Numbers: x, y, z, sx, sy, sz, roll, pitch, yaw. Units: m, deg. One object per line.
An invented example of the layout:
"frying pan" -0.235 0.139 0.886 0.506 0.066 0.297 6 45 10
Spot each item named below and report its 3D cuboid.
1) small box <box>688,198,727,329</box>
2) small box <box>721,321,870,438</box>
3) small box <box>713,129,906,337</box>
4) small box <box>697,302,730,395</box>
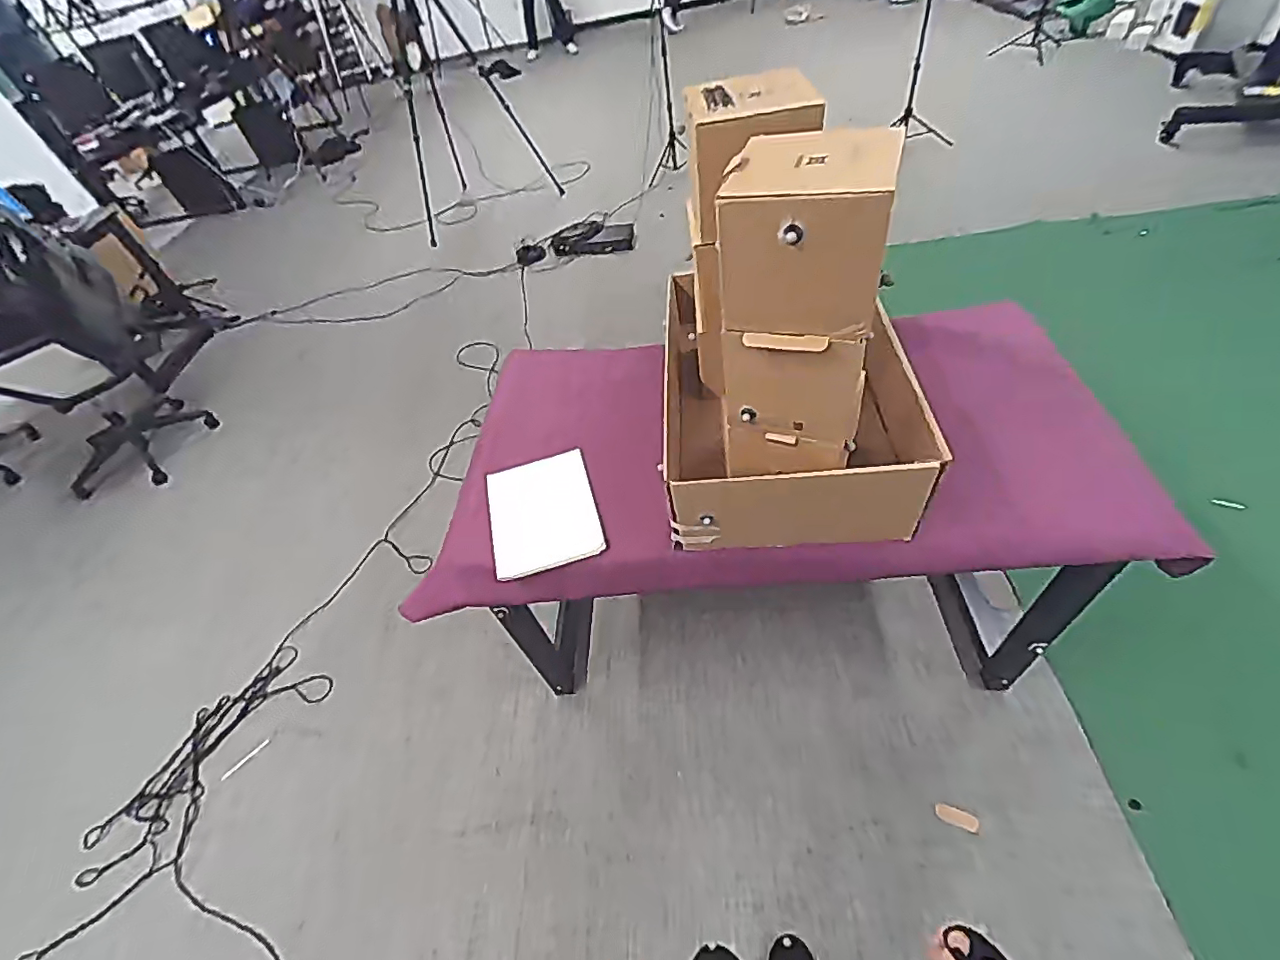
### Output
"small box" 0.182 -0.384 0.952 0.179 0.176 0.168 -6 50 7
"small box" 0.224 -0.181 0.759 0.168 0.176 0.179 12 52 23
"small box" 0.198 -0.285 0.637 0.179 0.176 0.168 10 52 21
"small box" 0.202 -0.284 1.077 0.168 0.176 0.179 -4 51 9
